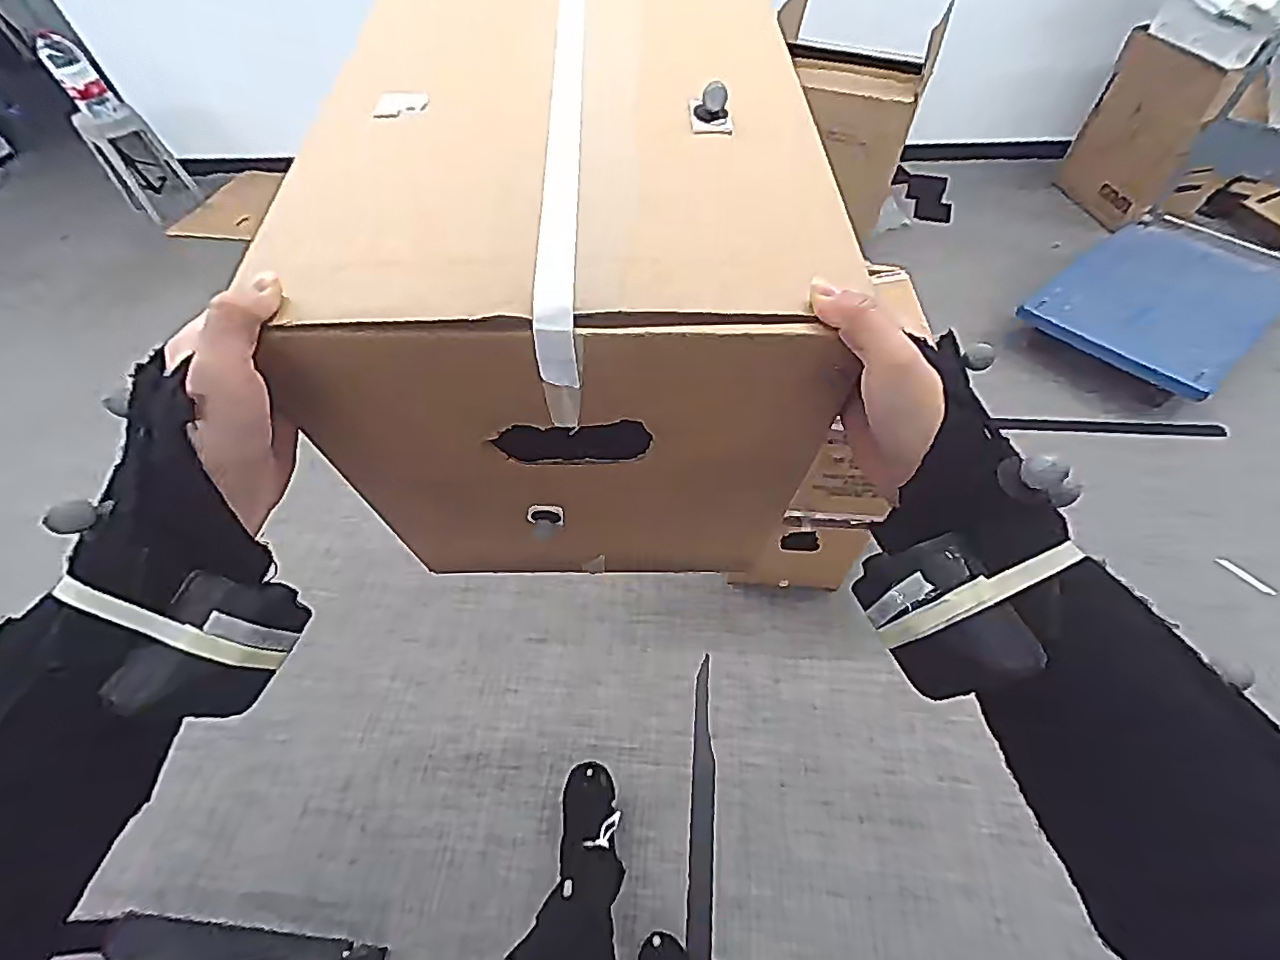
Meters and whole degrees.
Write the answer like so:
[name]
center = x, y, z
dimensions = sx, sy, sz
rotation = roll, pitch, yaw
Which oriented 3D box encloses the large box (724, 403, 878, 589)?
[large box]
center = 0.402, 0.043, 1.465
dimensions = 0.320, 0.320, 0.408
rotation = 1, 54, 5
